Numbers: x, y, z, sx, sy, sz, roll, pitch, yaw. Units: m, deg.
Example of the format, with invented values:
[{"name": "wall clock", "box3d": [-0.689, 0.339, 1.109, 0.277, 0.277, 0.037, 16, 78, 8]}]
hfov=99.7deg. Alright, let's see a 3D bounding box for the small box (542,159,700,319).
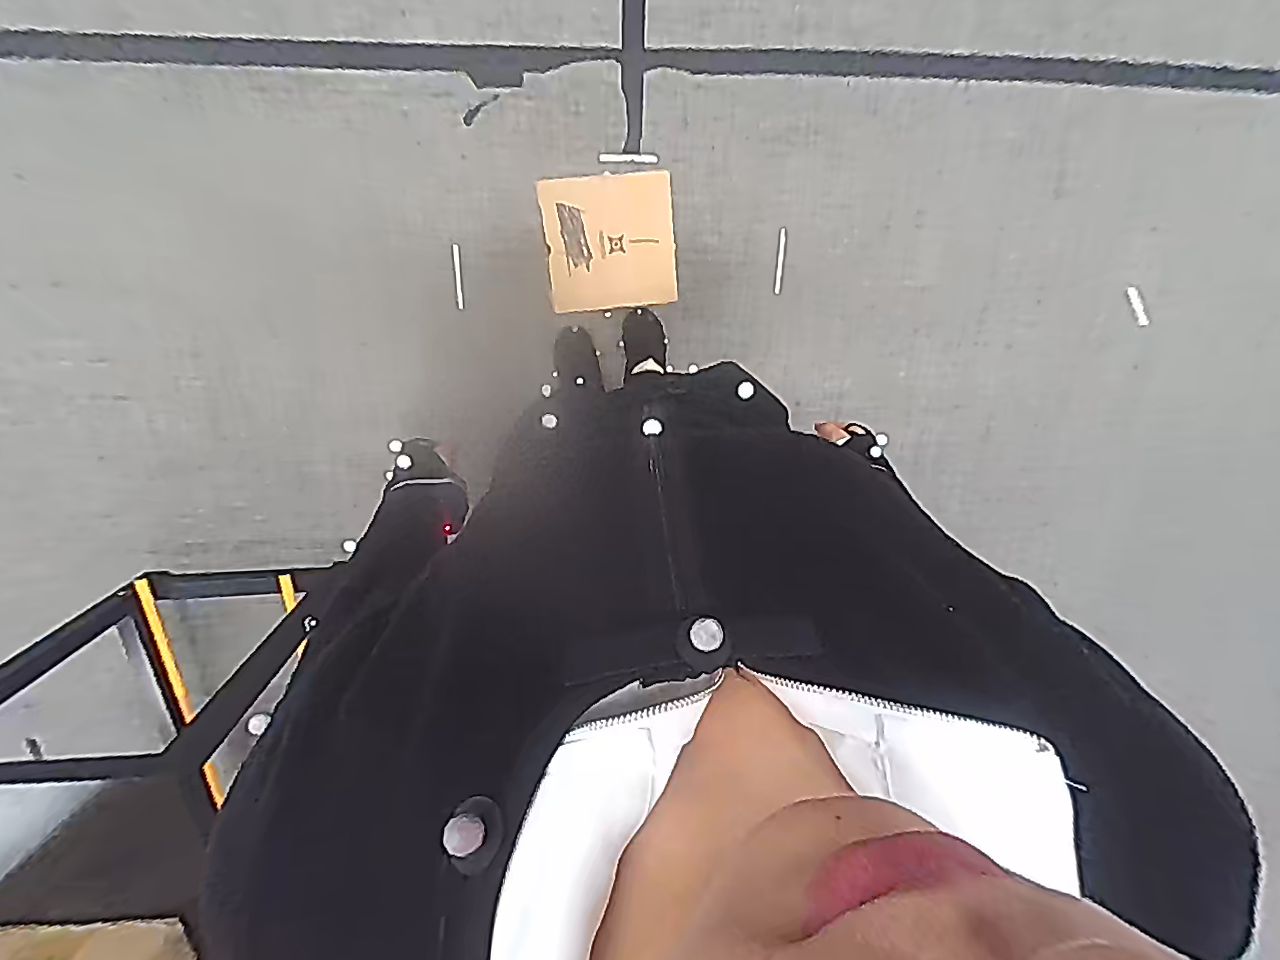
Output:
[{"name": "small box", "box3d": [-0.024, -0.308, 0.715, 0.179, 0.176, 0.168, -7, 111, -3]}]
